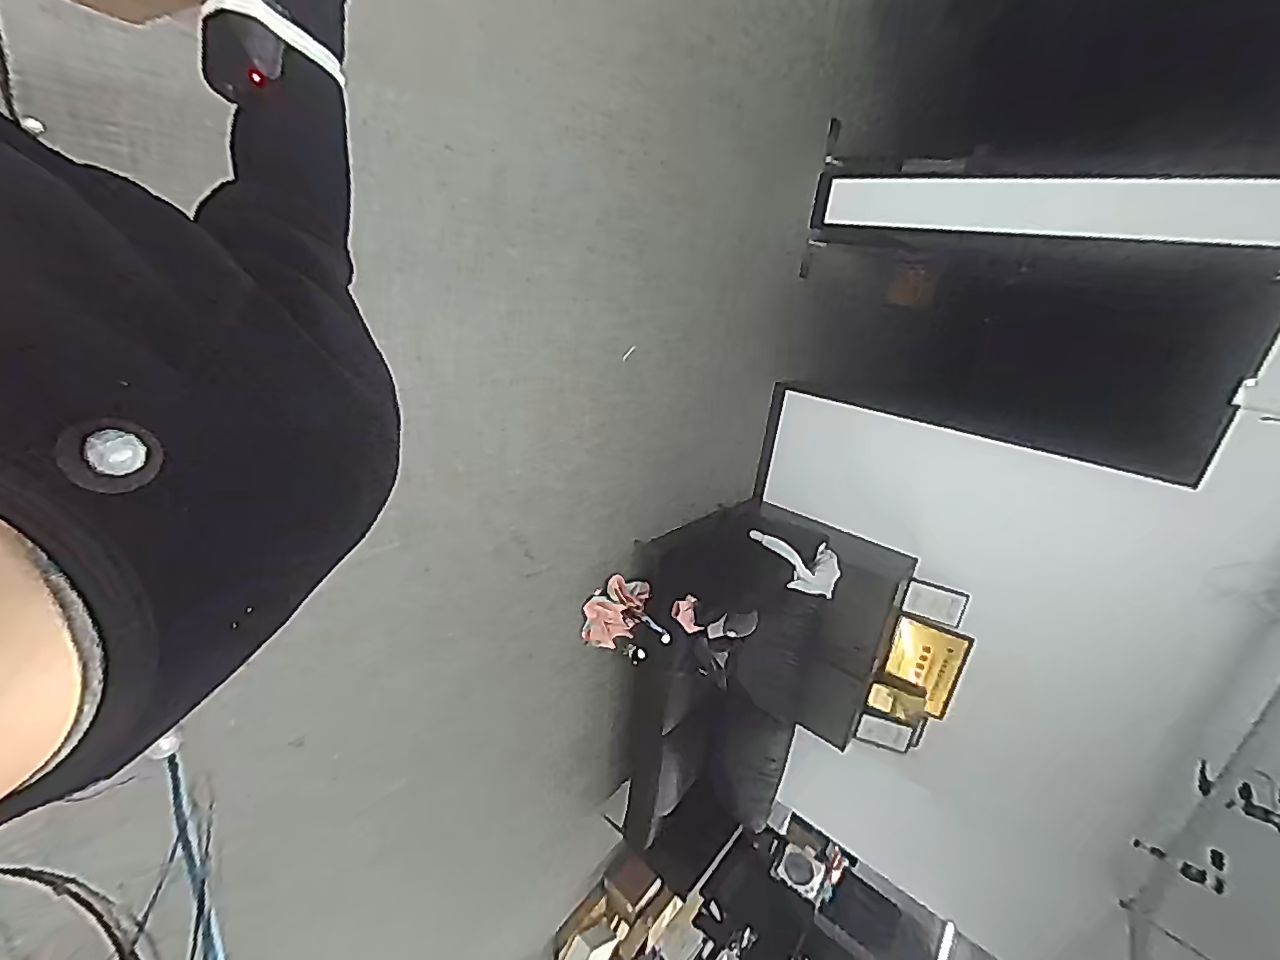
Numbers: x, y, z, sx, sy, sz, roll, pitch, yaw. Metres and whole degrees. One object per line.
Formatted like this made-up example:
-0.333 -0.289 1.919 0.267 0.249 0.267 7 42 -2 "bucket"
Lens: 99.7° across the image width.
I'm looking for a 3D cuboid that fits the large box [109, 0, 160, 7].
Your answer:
-0.479 -0.523 0.265 0.408 0.320 0.320 -16 122 -52 "large box"
